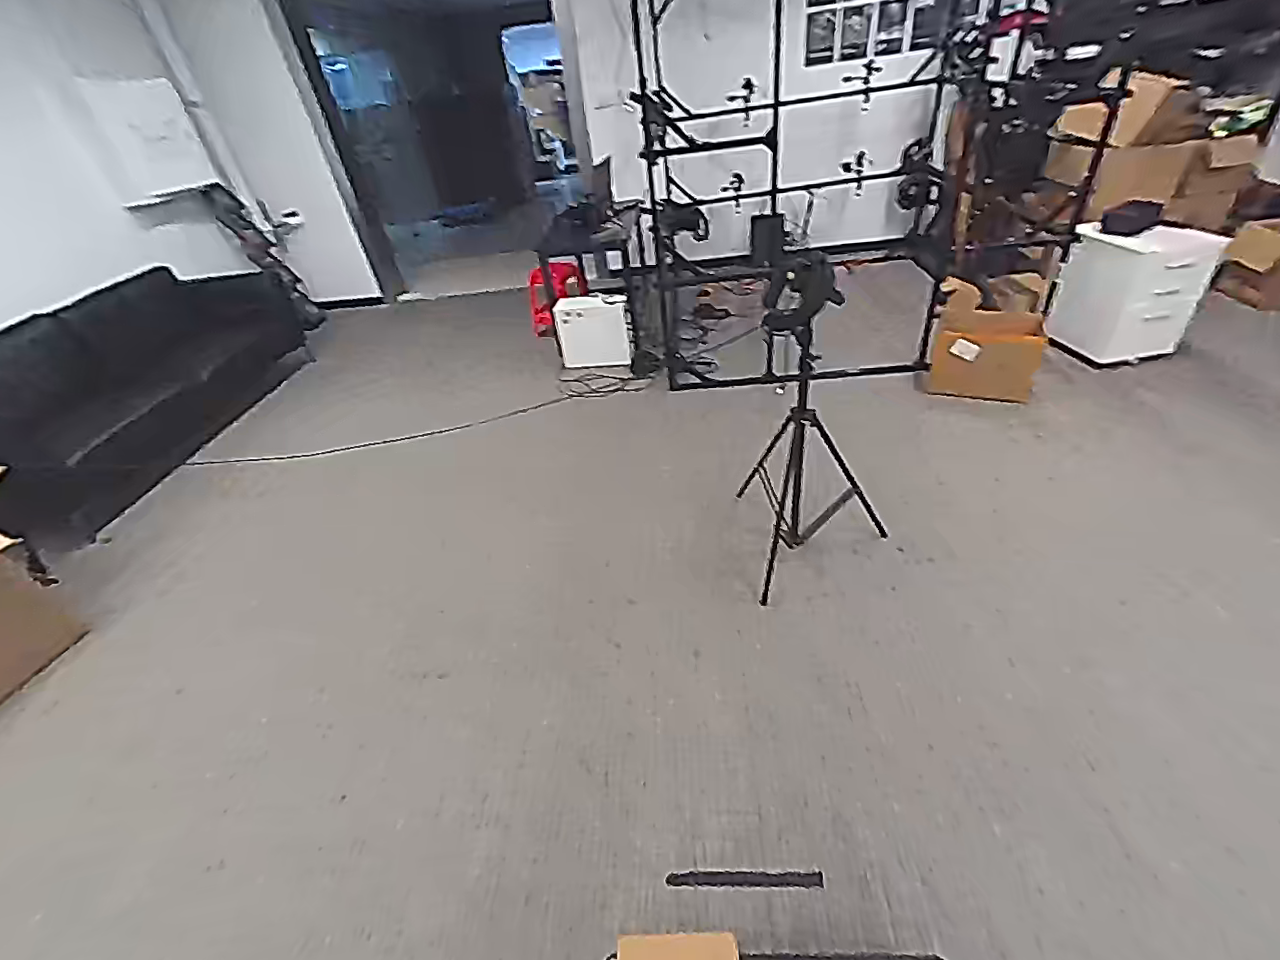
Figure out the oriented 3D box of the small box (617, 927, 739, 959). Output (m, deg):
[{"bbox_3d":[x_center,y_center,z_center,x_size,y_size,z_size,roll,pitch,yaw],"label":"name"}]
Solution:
[{"bbox_3d":[0.062,0.776,0.782,0.179,0.176,0.168,-6,36,3],"label":"small box"}]
